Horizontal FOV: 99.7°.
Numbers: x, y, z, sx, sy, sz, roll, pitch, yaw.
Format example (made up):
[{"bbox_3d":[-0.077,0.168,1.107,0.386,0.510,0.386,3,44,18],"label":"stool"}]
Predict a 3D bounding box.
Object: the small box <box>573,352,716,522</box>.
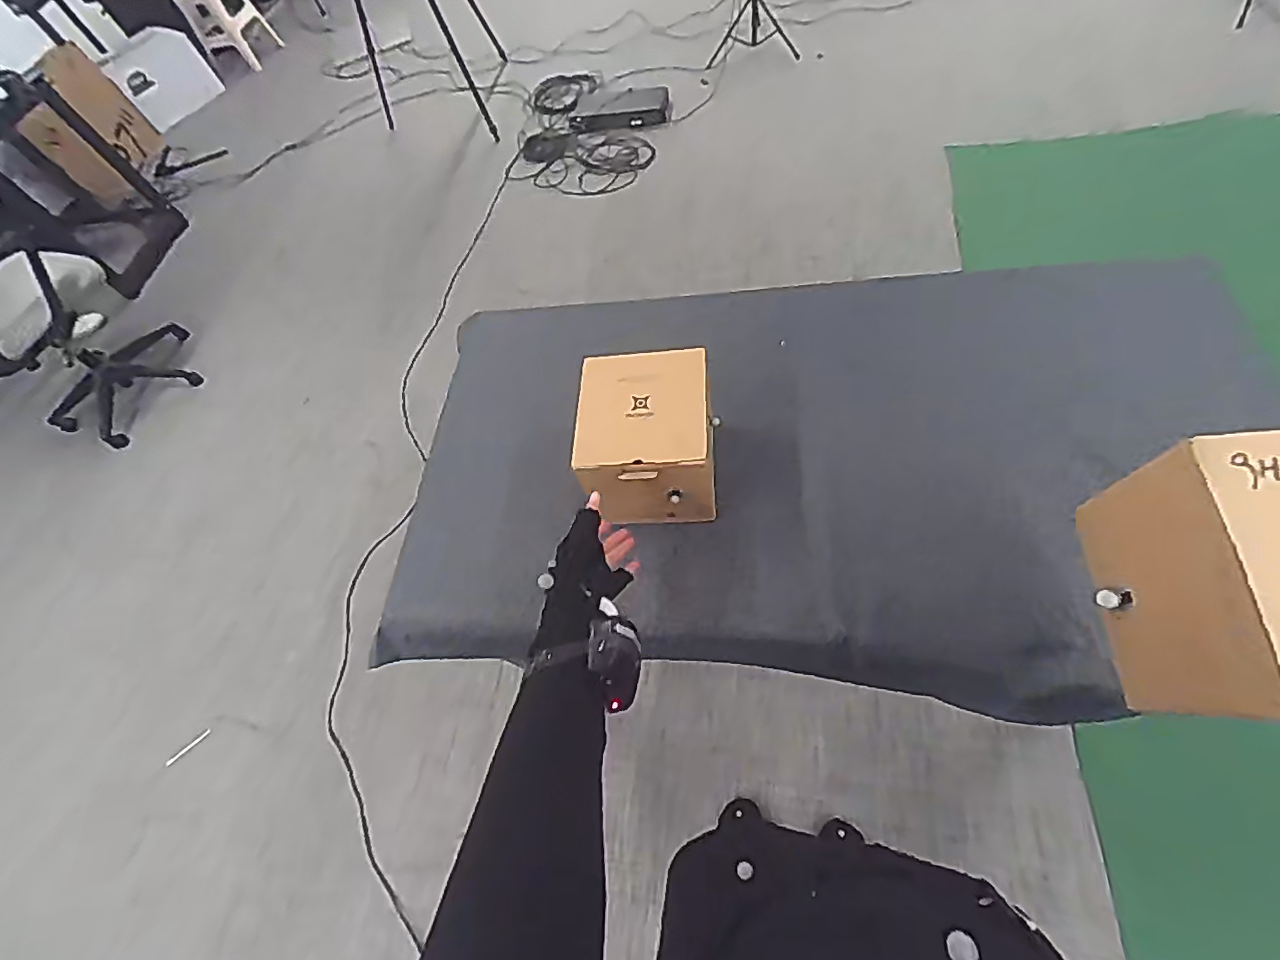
[{"bbox_3d":[0.016,-0.049,0.745,0.168,0.176,0.179,-3,59,9],"label":"small box"}]
